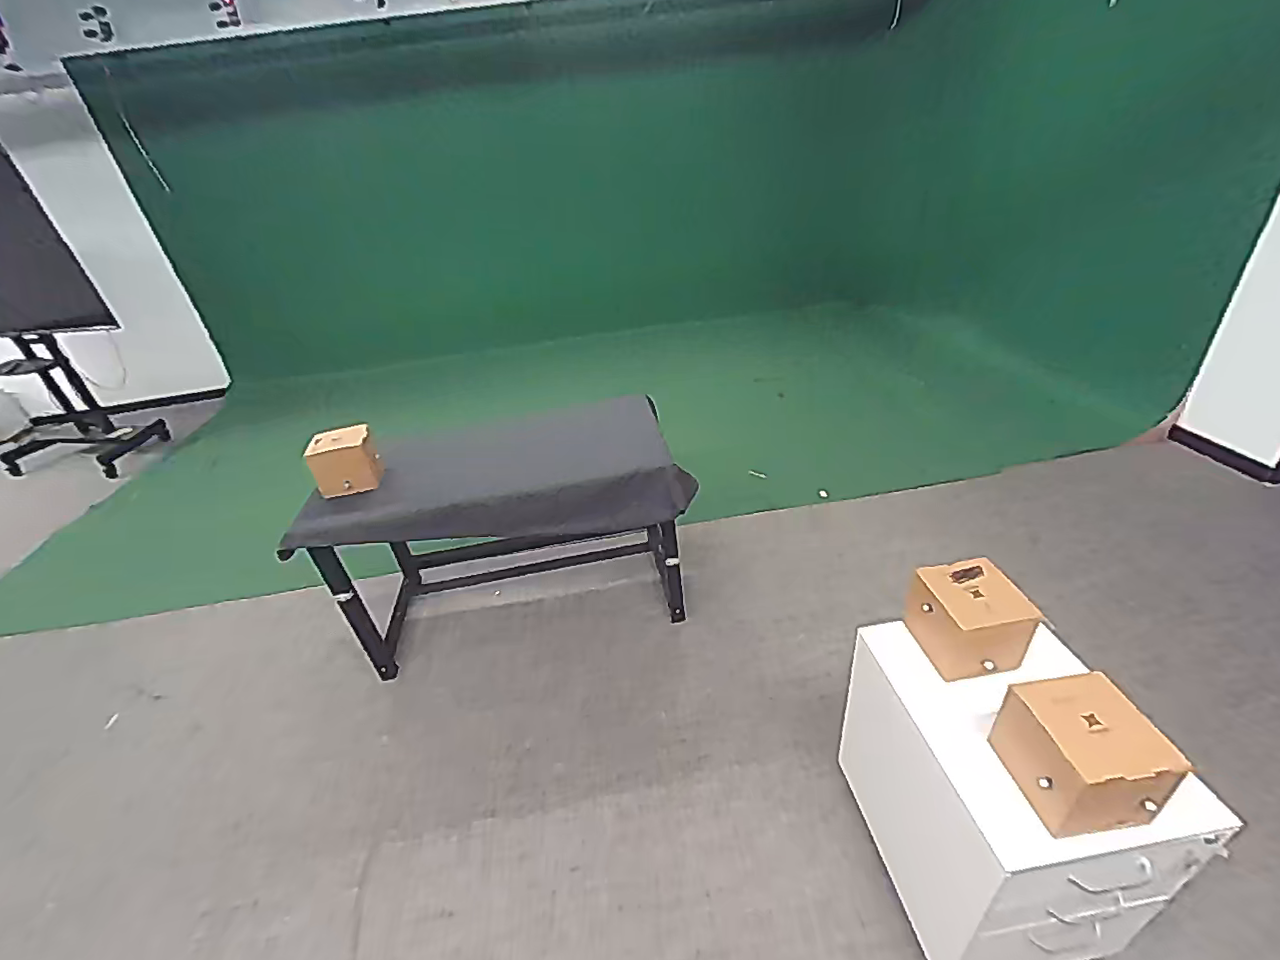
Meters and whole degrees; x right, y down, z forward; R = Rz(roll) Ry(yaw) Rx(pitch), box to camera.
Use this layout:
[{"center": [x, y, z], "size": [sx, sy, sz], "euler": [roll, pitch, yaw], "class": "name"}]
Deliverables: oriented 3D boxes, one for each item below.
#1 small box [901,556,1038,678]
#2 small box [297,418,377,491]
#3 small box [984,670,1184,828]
[{"center": [0.689, 0.291, 1.157], "size": [0.168, 0.176, 0.179], "euler": [-9, 35, -3], "class": "small box"}, {"center": [-0.992, -0.085, 1.791], "size": [0.179, 0.176, 0.168], "euler": [-12, 33, -11], "class": "small box"}, {"center": [0.725, 0.454, 0.909], "size": [0.168, 0.176, 0.179], "euler": [-7, 31, -3], "class": "small box"}]
